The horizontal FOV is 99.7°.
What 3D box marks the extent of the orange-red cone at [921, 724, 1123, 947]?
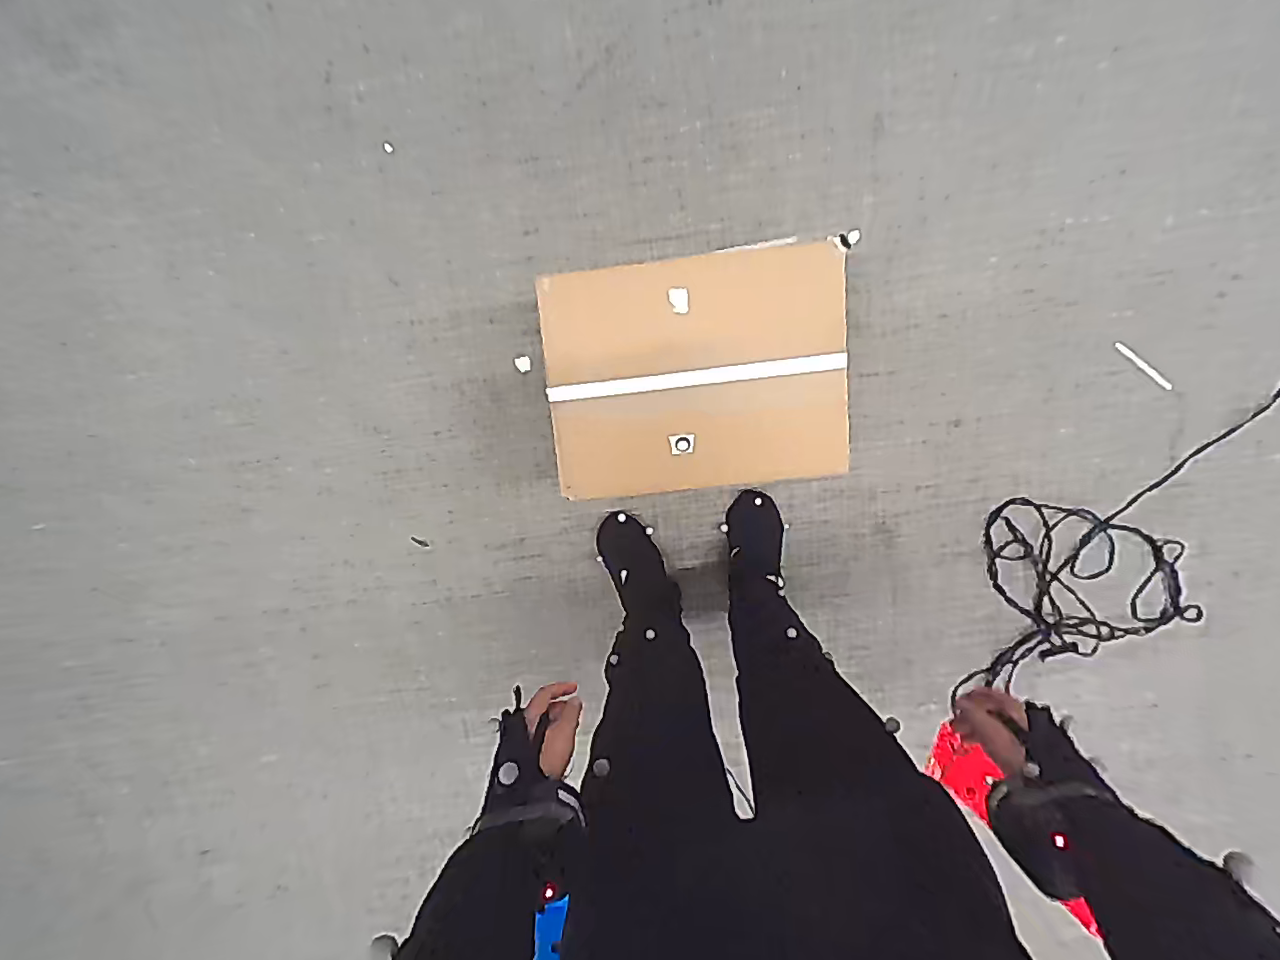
[{"bbox_3d":[0.722,0.659,0.995,0.199,0.360,0.198,12,103,-2],"label":"orange-red cone"}]
